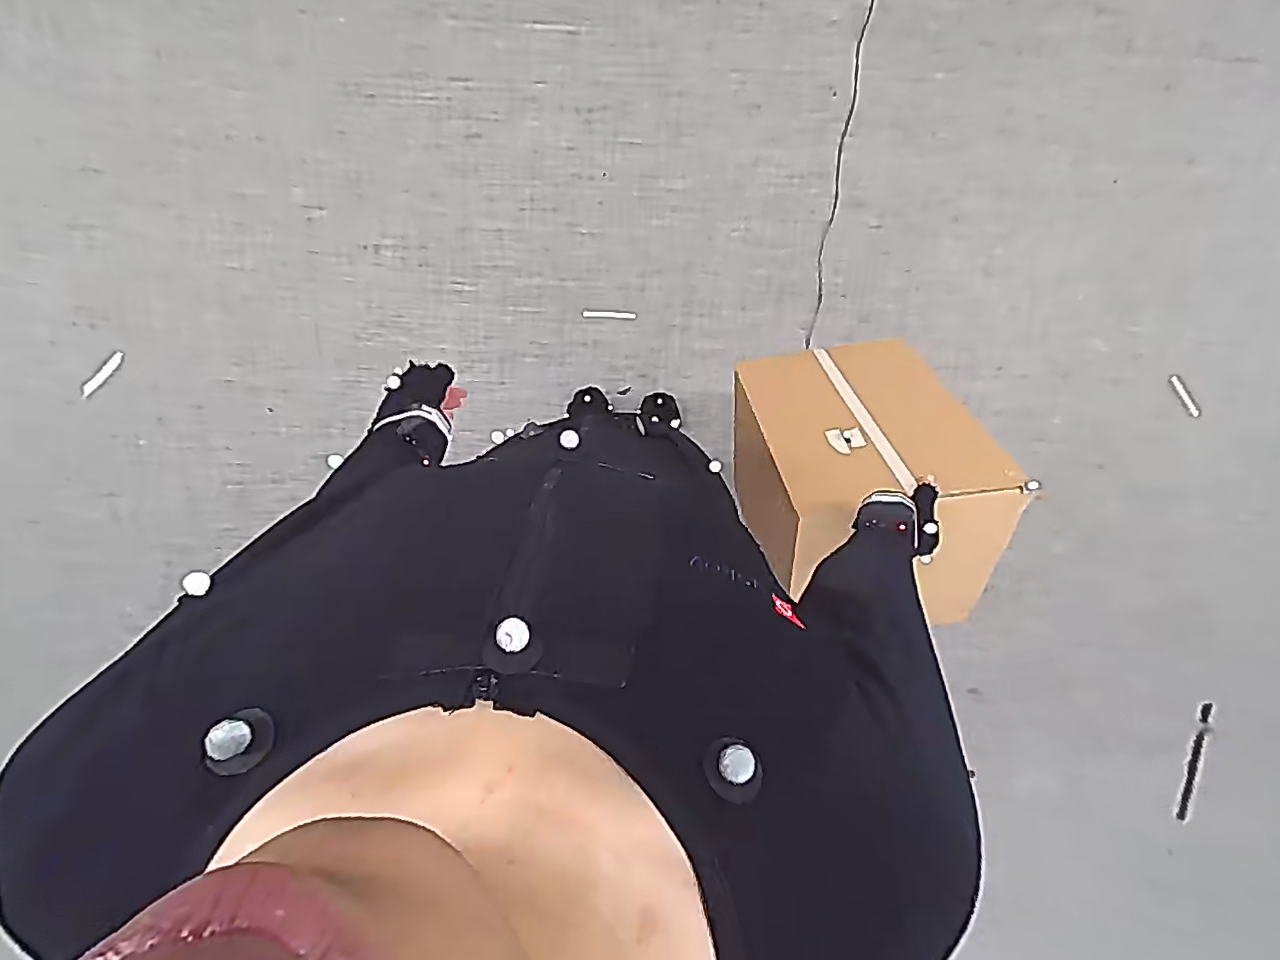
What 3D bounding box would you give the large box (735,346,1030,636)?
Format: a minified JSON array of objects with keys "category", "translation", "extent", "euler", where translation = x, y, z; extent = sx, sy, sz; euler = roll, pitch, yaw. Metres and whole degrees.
[{"category":"large box","translation":[0.367,0.010,0.969],"extent":[0.320,0.408,0.320],"euler":[-9,133,1]}]
